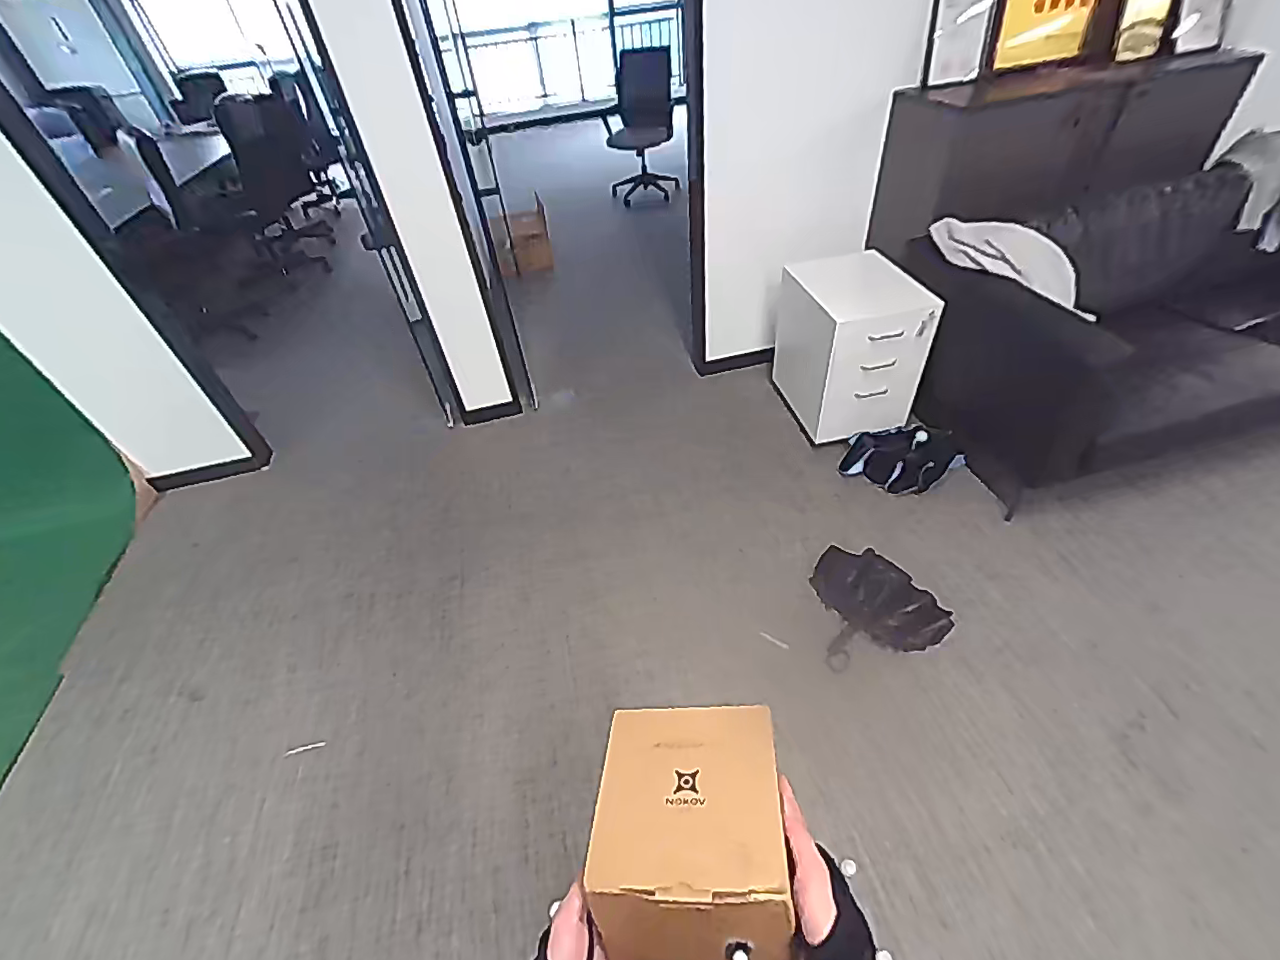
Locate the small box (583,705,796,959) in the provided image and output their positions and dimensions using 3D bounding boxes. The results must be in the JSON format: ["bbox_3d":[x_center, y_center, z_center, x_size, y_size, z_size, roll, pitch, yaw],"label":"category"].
[{"bbox_3d":[0.056,0.350,0.527,0.168,0.176,0.179,-5,25,10],"label":"small box"}]
